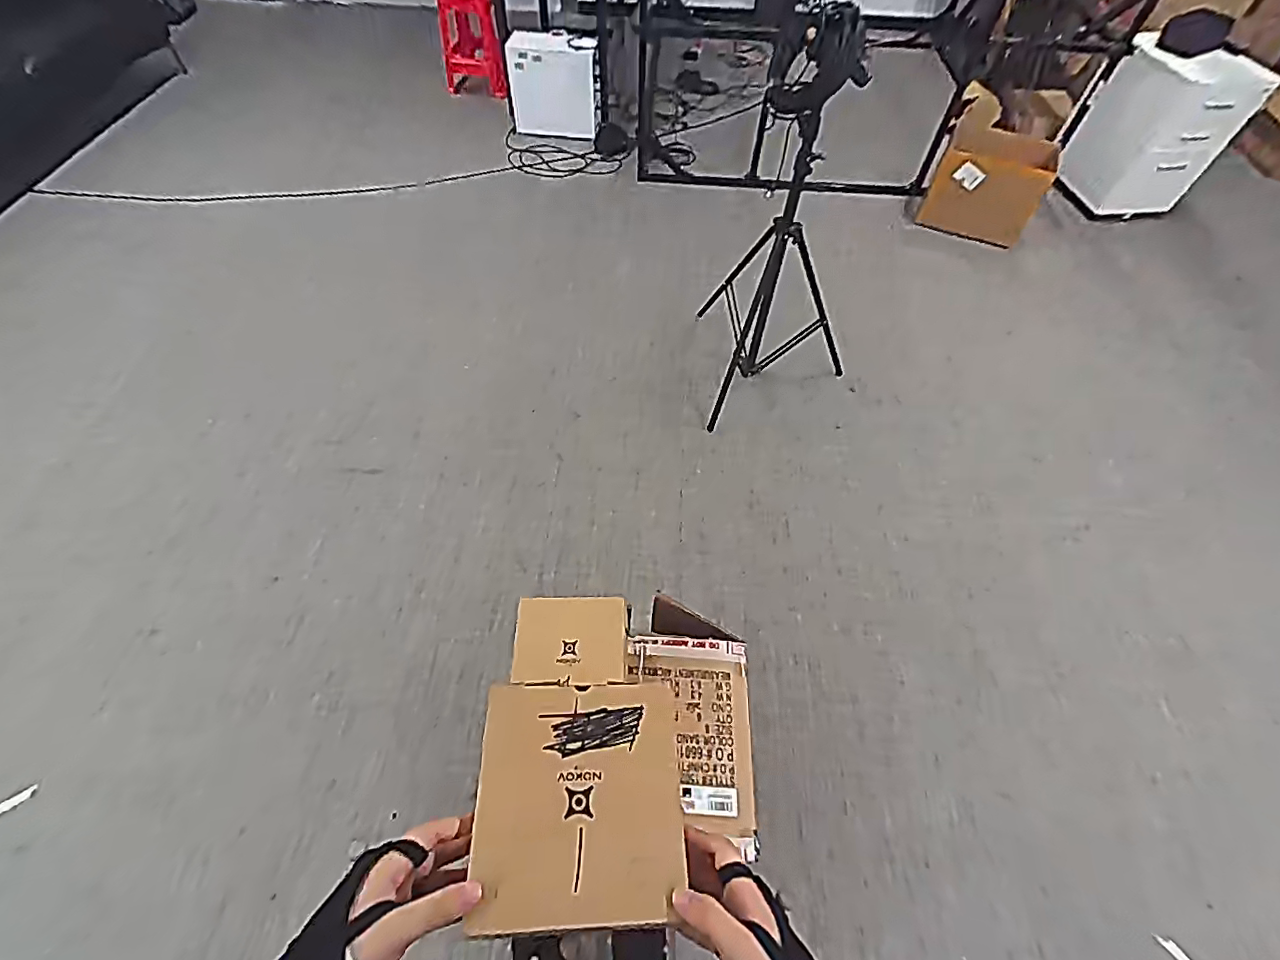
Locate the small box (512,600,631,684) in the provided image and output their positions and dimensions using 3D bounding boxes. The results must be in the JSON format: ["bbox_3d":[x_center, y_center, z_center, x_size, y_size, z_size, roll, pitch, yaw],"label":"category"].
[{"bbox_3d":[-0.101,0.303,0.861,0.168,0.176,0.179,-1,59,1],"label":"small box"}]

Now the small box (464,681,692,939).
[{"bbox_3d":[-0.055,0.303,0.498,0.168,0.176,0.179,1,50,-6],"label":"small box"}]
